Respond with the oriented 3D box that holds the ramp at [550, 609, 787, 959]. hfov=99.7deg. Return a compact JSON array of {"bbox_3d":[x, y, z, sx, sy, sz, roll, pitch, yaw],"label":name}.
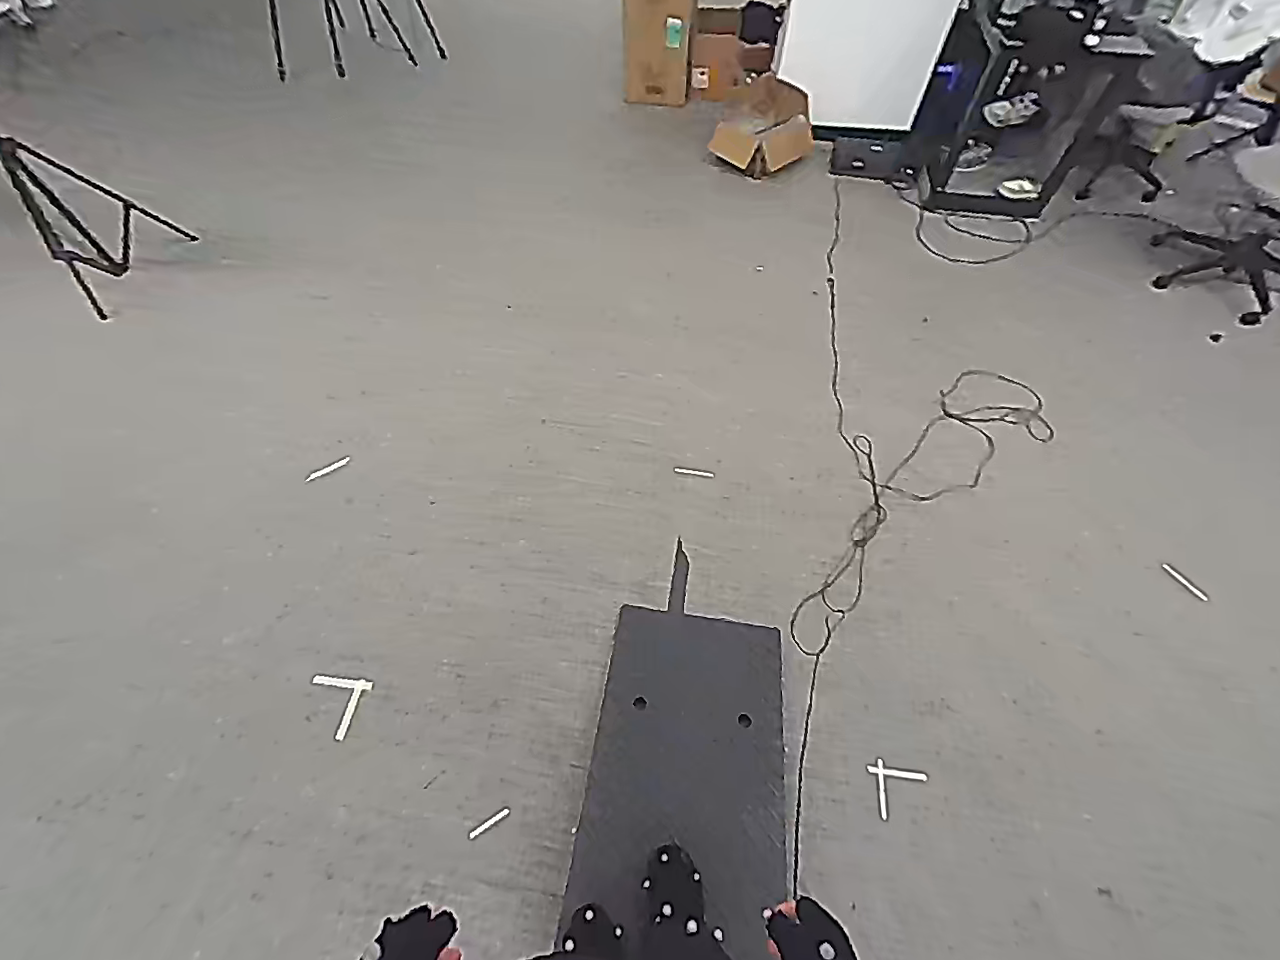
[{"bbox_3d":[0.104,0.787,1.322,0.509,0.206,0.991,6,57,5],"label":"ramp"}]
